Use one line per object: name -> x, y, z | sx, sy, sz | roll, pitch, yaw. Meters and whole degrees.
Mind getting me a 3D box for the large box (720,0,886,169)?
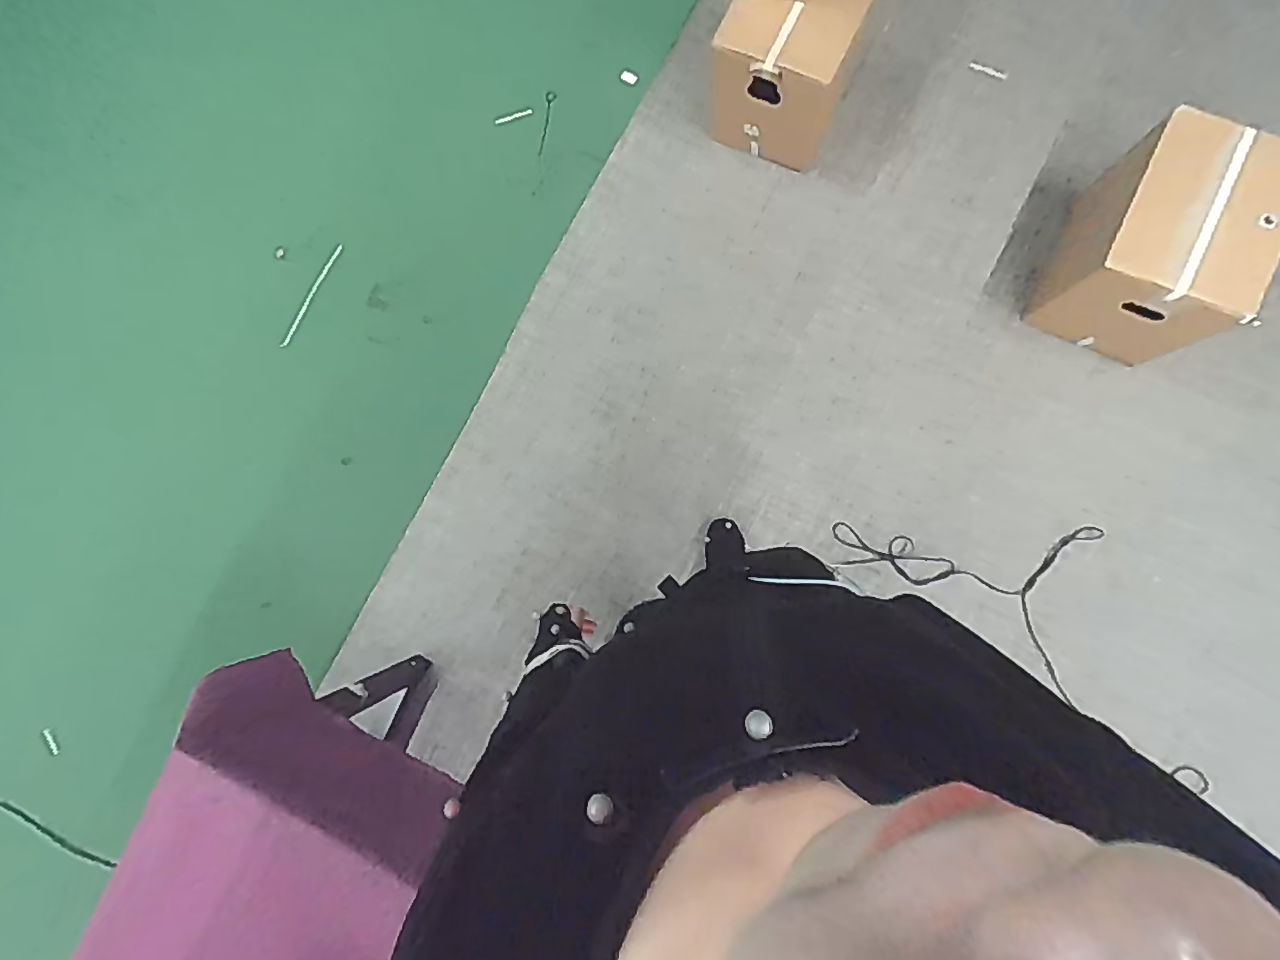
large box -> 0.434, -1.155, 1.464 | 0.320, 0.320, 0.408 | 26, 86, 9
